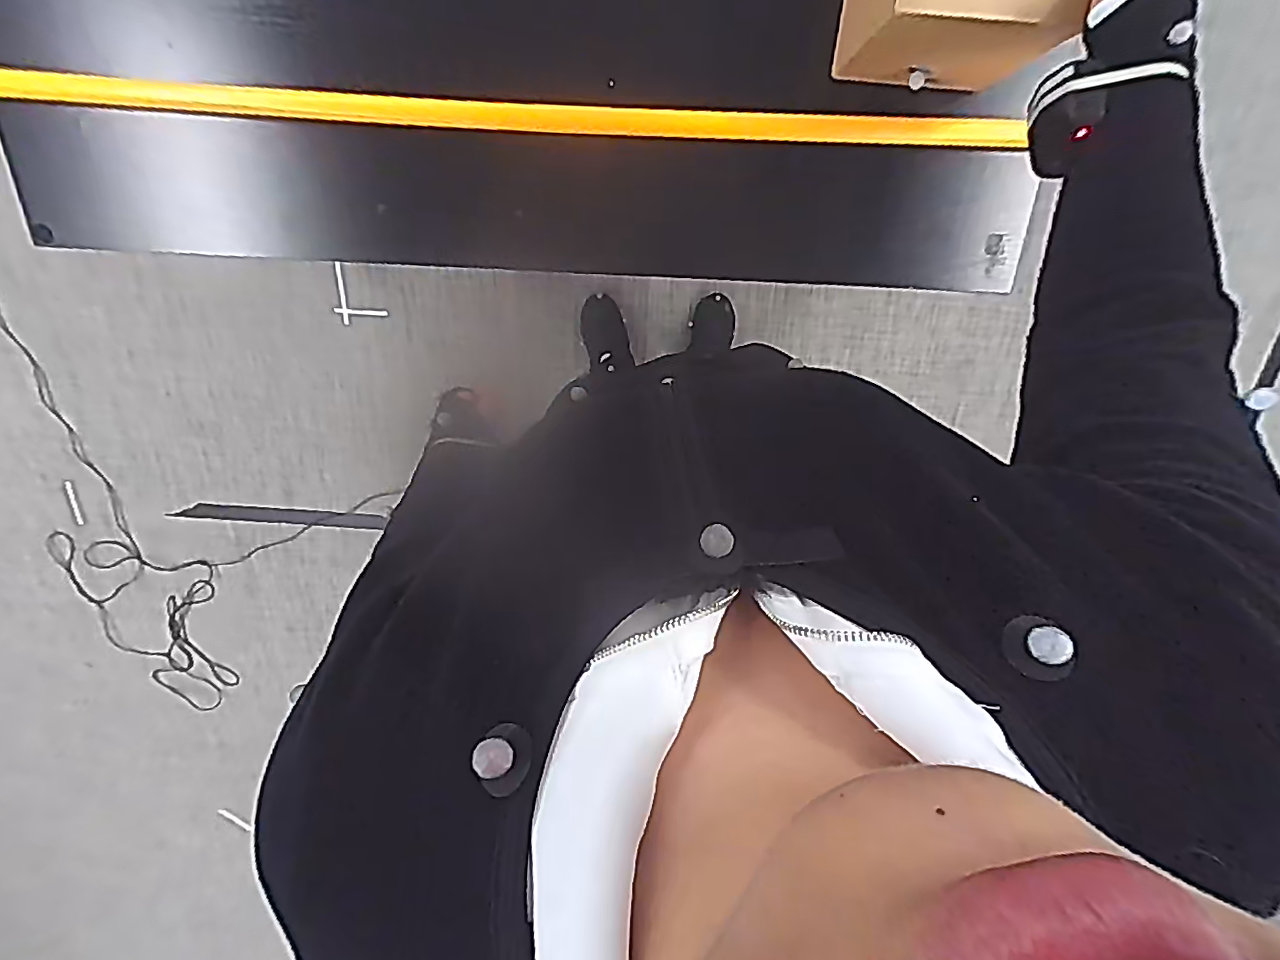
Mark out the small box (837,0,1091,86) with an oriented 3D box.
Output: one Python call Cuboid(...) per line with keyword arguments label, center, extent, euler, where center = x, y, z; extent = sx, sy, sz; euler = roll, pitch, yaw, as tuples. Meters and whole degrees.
Cuboid(label="small box", center=(0.299, -0.498, 0.495), extent=(0.168, 0.176, 0.179), euler=(5, 111, -1))
